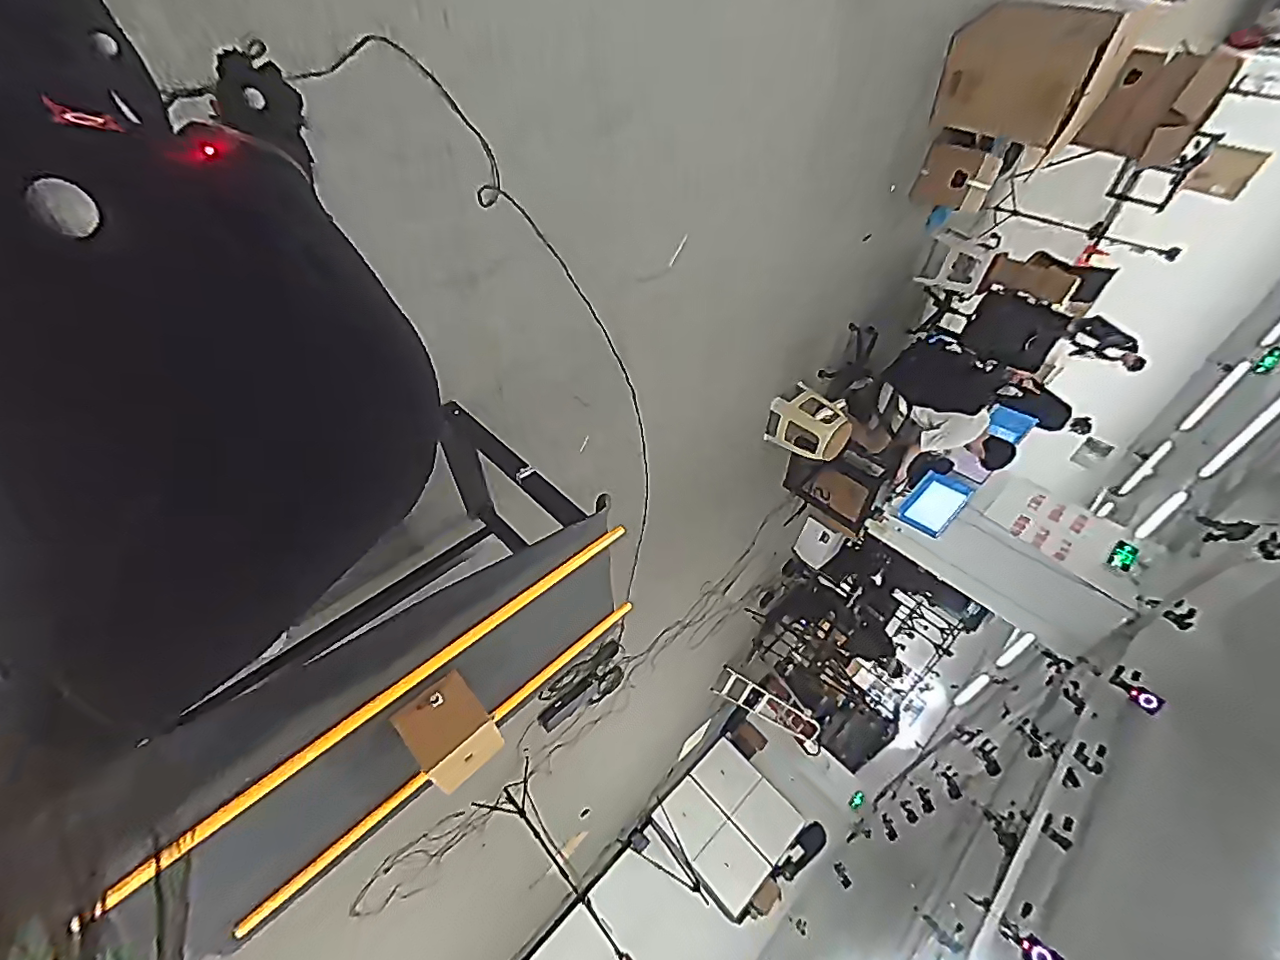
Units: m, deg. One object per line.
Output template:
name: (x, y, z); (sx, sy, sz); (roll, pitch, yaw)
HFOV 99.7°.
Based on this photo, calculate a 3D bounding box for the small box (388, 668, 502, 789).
small box: (-0.452, 0.576, 1.264); (0.168, 0.176, 0.179); (-38, 146, -28)
